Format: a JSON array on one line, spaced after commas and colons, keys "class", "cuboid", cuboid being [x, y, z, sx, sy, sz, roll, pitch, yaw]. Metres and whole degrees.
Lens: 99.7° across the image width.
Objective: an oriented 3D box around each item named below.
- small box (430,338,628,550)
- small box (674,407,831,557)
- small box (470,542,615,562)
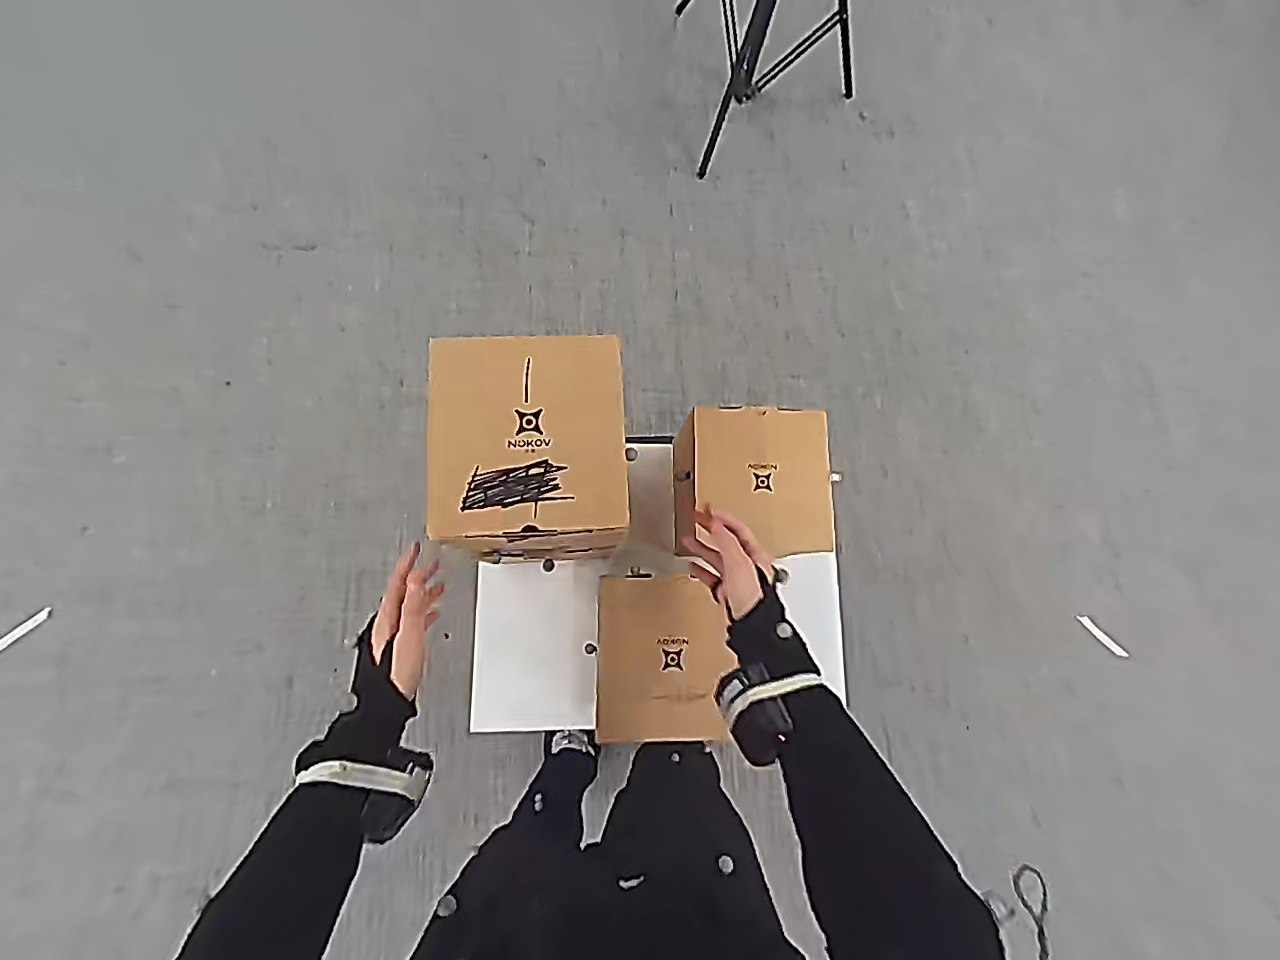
[{"class": "small box", "cuboid": [-0.100, -0.023, 0.538, 0.168, 0.176, 0.179, -3, 78, -6]}, {"class": "small box", "cuboid": [0.139, 0.013, 0.722, 0.168, 0.176, 0.179, 1, 79, -4]}, {"class": "small box", "cuboid": [-0.118, 0.014, 0.698, 0.168, 0.176, 0.179, -3, 80, -6]}]
